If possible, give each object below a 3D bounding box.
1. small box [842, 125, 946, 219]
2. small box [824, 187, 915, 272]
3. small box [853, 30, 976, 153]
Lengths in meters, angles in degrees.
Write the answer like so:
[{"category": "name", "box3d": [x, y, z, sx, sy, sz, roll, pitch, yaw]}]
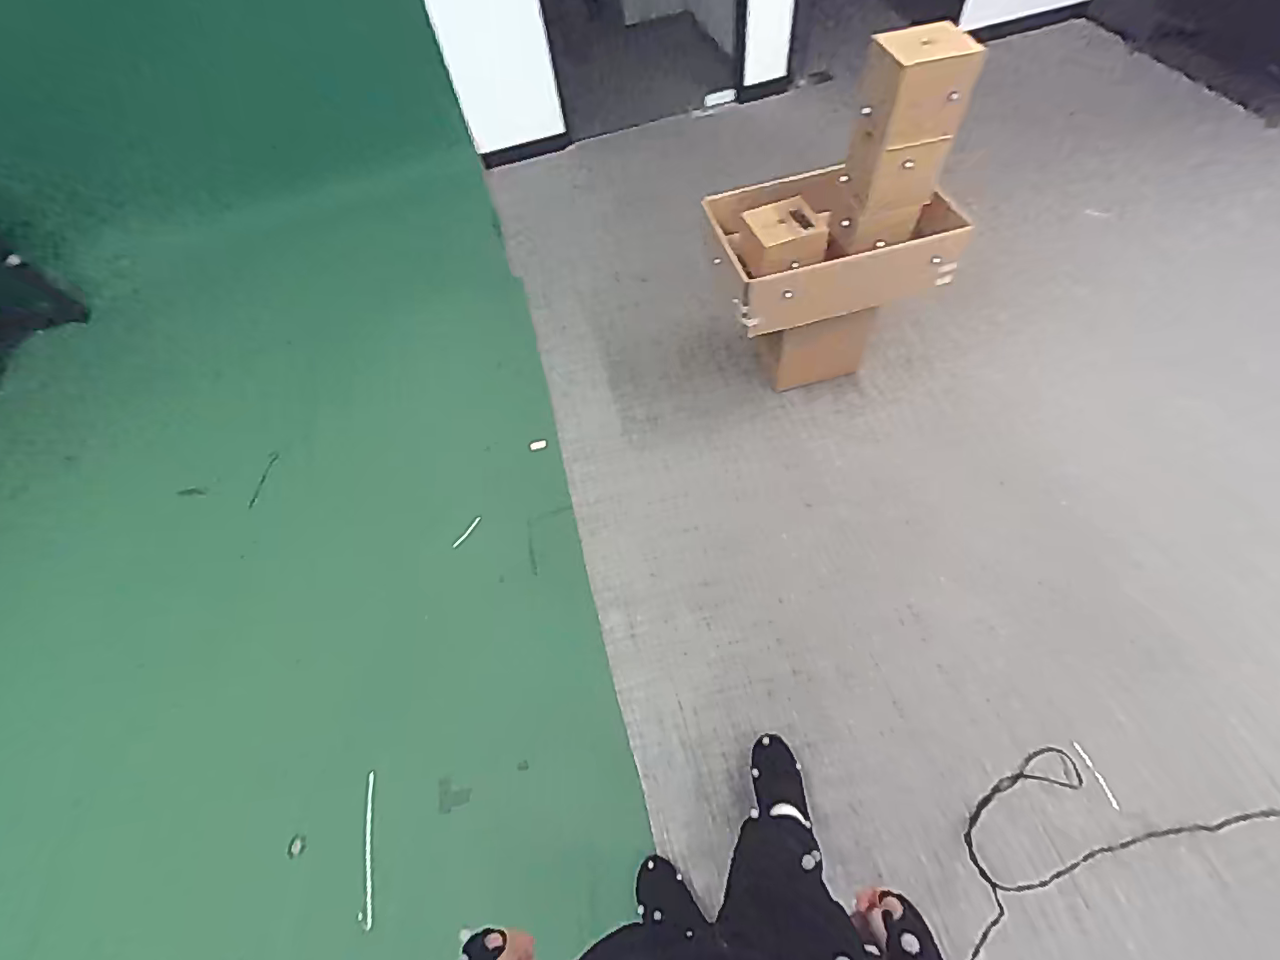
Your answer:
[{"category": "small box", "box3d": [0.631, -0.793, 1.375, 0.179, 0.176, 0.168, -12, 58, -1]}, {"category": "small box", "box3d": [0.634, -0.705, 1.514, 0.168, 0.176, 0.179, -11, 57, 0]}, {"category": "small box", "box3d": [0.618, -0.888, 1.243, 0.179, 0.176, 0.168, -12, 57, -1]}]
